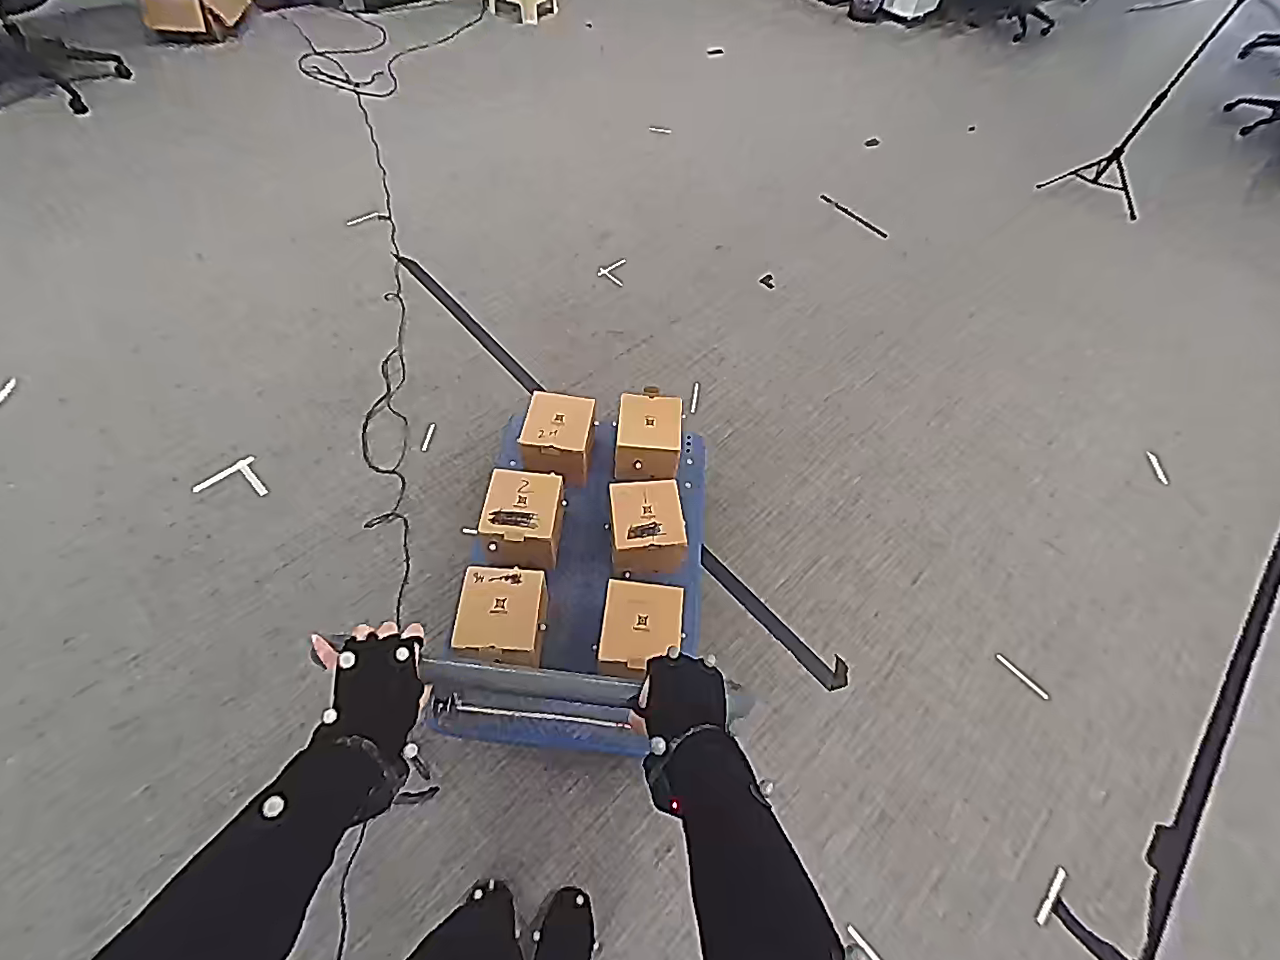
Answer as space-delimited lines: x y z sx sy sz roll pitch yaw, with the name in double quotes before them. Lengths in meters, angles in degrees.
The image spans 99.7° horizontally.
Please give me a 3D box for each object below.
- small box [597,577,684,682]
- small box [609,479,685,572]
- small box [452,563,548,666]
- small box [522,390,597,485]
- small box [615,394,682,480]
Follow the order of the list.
"small box" -0.001 0.337 1.198 0.168 0.176 0.179 8 57 -1
"small box" 0.011 0.118 1.335 0.168 0.176 0.179 -3 57 -8
"small box" -0.297 0.301 1.188 0.168 0.176 0.179 5 58 -4
"small box" -0.212 -0.111 1.456 0.168 0.176 0.179 9 58 0
"small box" 0.021 -0.112 1.482 0.168 0.176 0.179 5 58 -2
